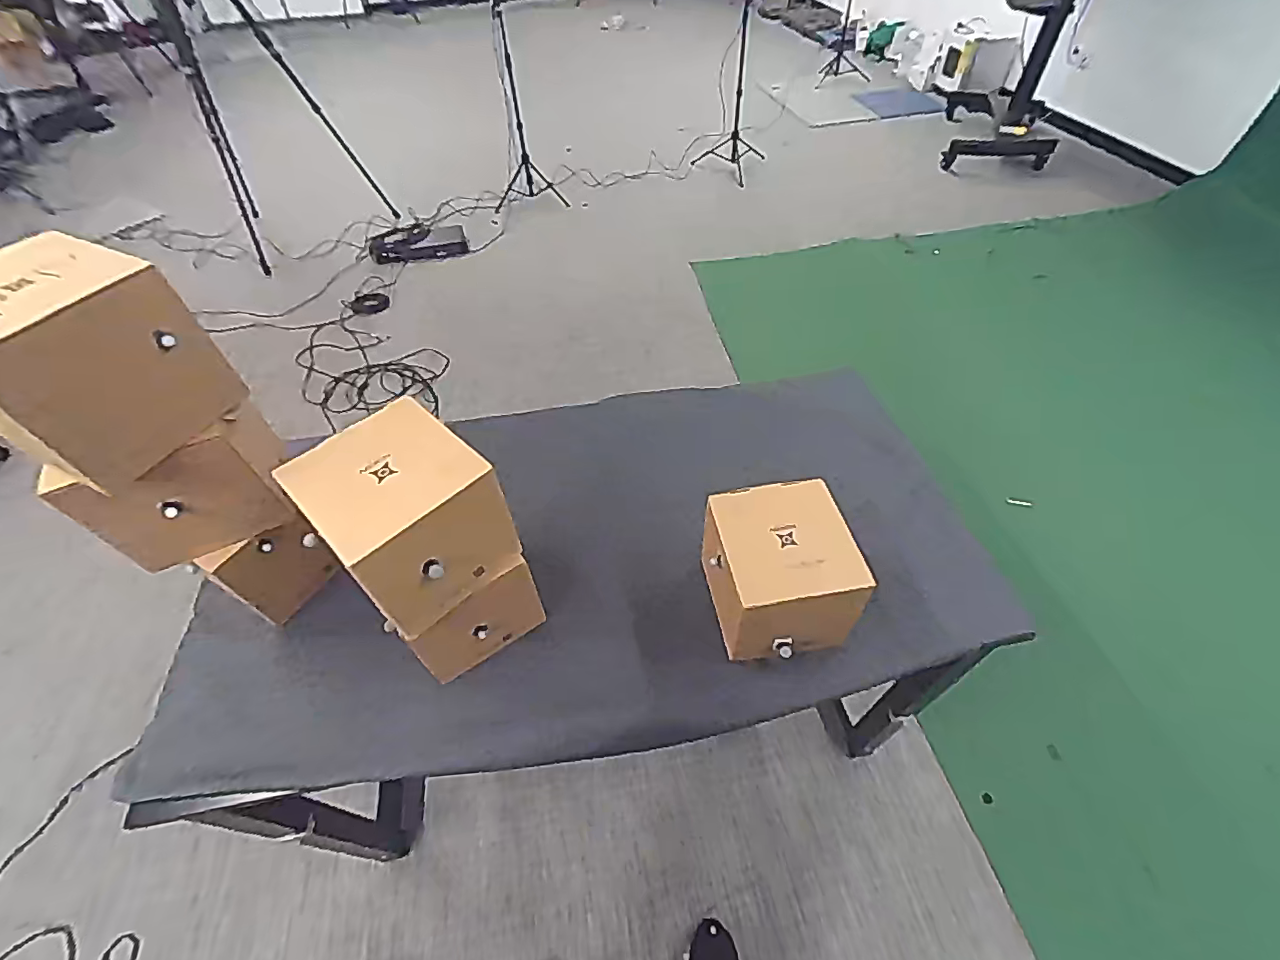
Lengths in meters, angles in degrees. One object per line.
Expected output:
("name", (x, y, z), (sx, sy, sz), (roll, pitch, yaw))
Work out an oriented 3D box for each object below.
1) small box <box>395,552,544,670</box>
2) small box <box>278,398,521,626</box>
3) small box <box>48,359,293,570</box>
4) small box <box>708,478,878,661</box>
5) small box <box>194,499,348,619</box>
("small box", (-0.252, 0.141, 0.757), (0.168, 0.176, 0.179), (-30, 55, -21))
("small box", (-0.263, 0.043, 0.627), (0.179, 0.176, 0.168), (35, 60, 28))
("small box", (-0.574, -0.018, 0.690), (0.179, 0.176, 0.168), (-25, 55, -16))
("small box", (0.193, 0.125, 0.748), (0.168, 0.176, 0.179), (-9, 50, -3))
("small box", (-0.569, 0.083, 0.821), (0.179, 0.176, 0.168), (23, 55, 19))
